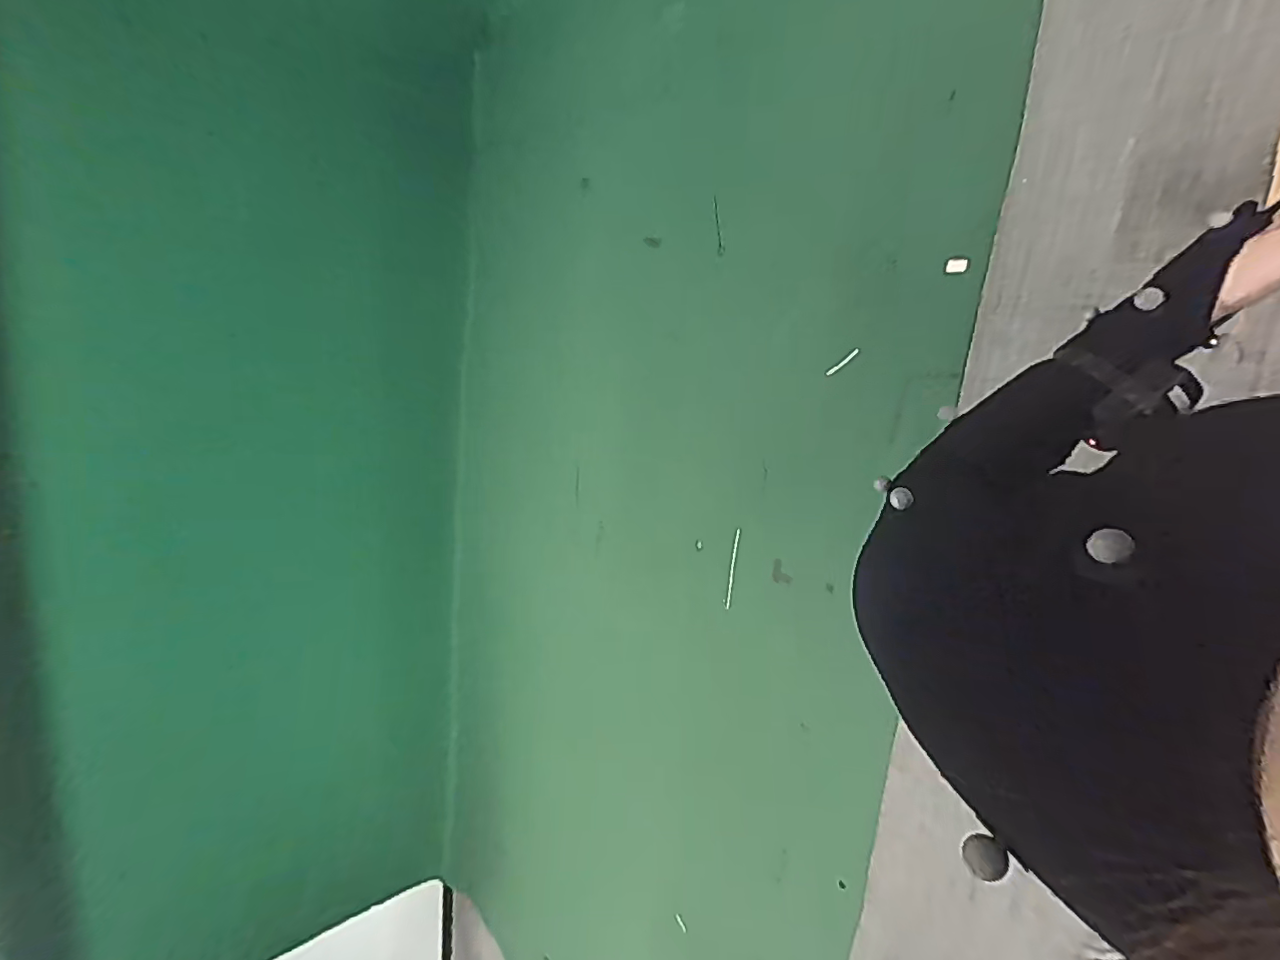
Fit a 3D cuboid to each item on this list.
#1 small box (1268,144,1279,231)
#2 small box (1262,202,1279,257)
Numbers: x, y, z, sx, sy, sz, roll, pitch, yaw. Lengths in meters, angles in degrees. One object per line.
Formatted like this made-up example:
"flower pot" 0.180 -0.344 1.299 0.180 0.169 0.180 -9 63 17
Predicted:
"small box" 1.022 -0.474 0.760 0.168 0.176 0.179 12 102 49
"small box" 1.140 -0.479 0.871 0.168 0.176 0.179 11 101 48
